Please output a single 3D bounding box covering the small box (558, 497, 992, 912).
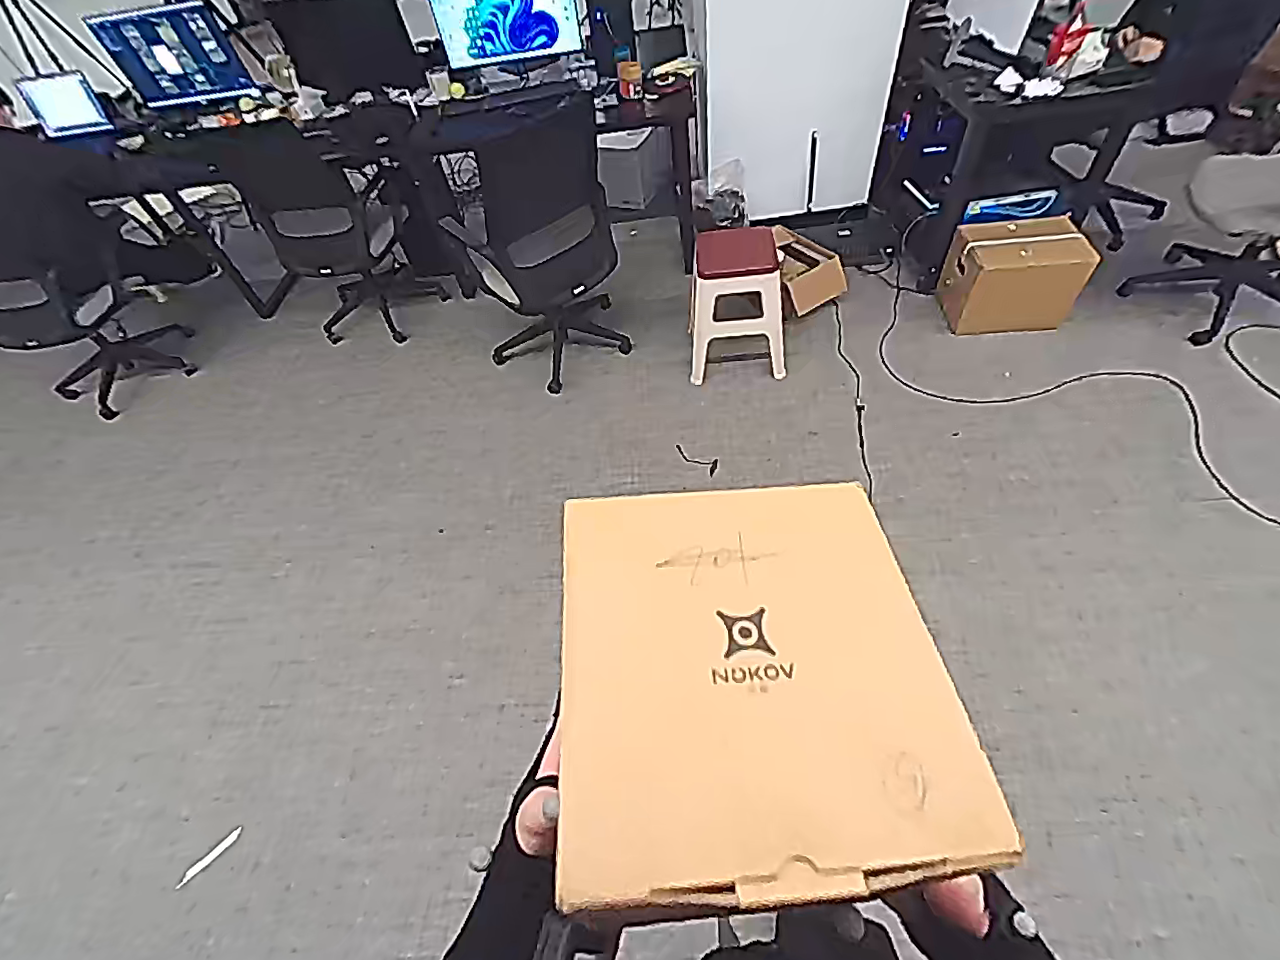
[{"bbox_3d":[0.046,0.132,0.311,0.168,0.176,0.179,-3,49,-4],"label":"small box"}]
